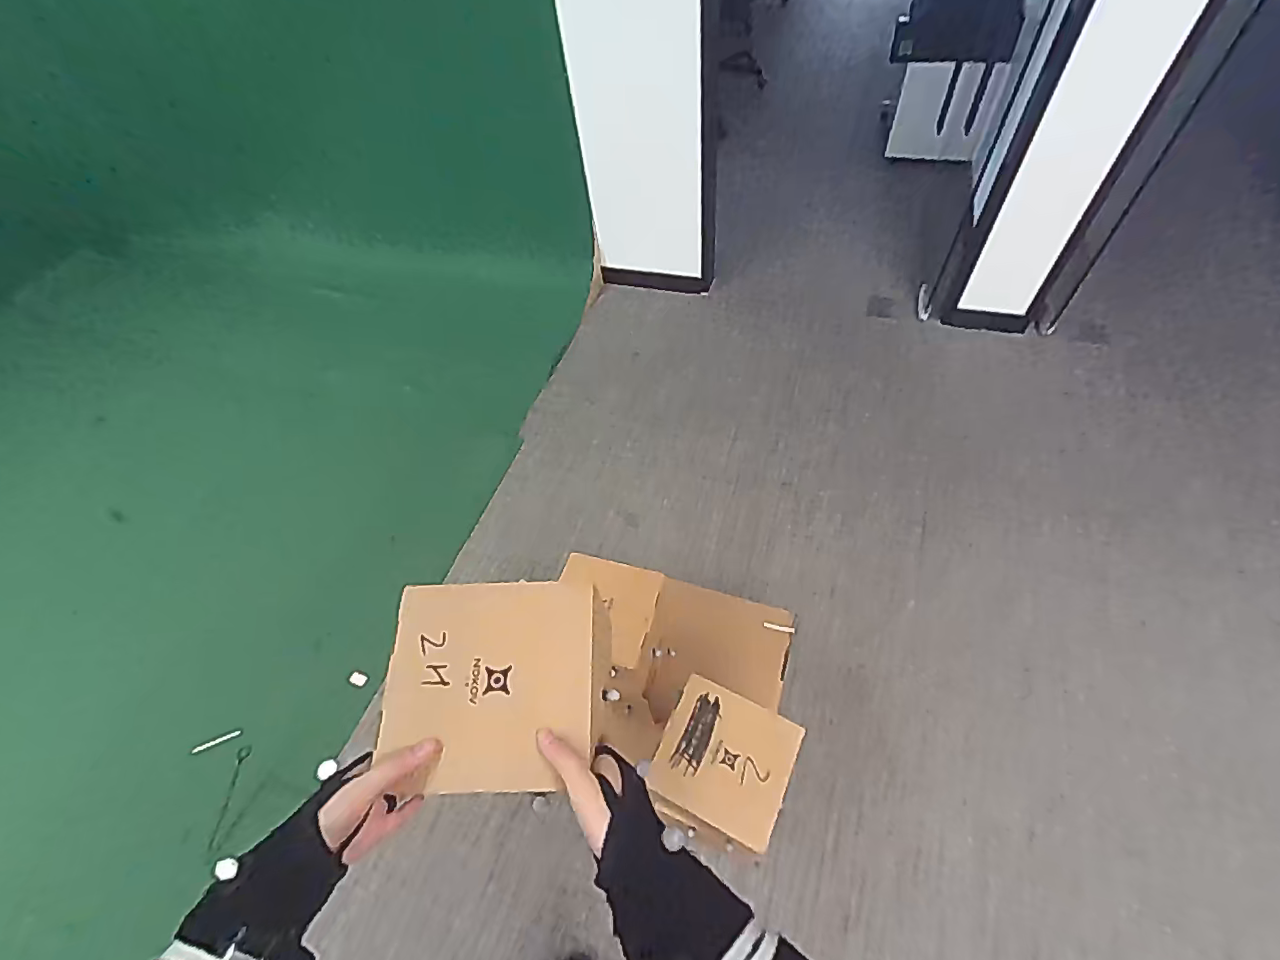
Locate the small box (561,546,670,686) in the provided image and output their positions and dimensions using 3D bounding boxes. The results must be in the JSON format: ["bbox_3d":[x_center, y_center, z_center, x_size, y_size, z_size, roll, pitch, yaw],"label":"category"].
[{"bbox_3d":[-0.054,0.242,0.951,0.179,0.176,0.168,12,55,14],"label":"small box"}]

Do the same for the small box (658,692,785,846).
[{"bbox_3d":[0.139,0.503,0.939,0.168,0.176,0.179,16,57,17],"label":"small box"}]

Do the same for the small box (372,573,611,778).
[{"bbox_3d":[-0.122,0.194,0.530,0.179,0.176,0.168,-2,63,3],"label":"small box"}]

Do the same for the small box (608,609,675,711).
[{"bbox_3d":[-0.033,0.343,1.078,0.179,0.176,0.168,10,55,15],"label":"small box"}]
